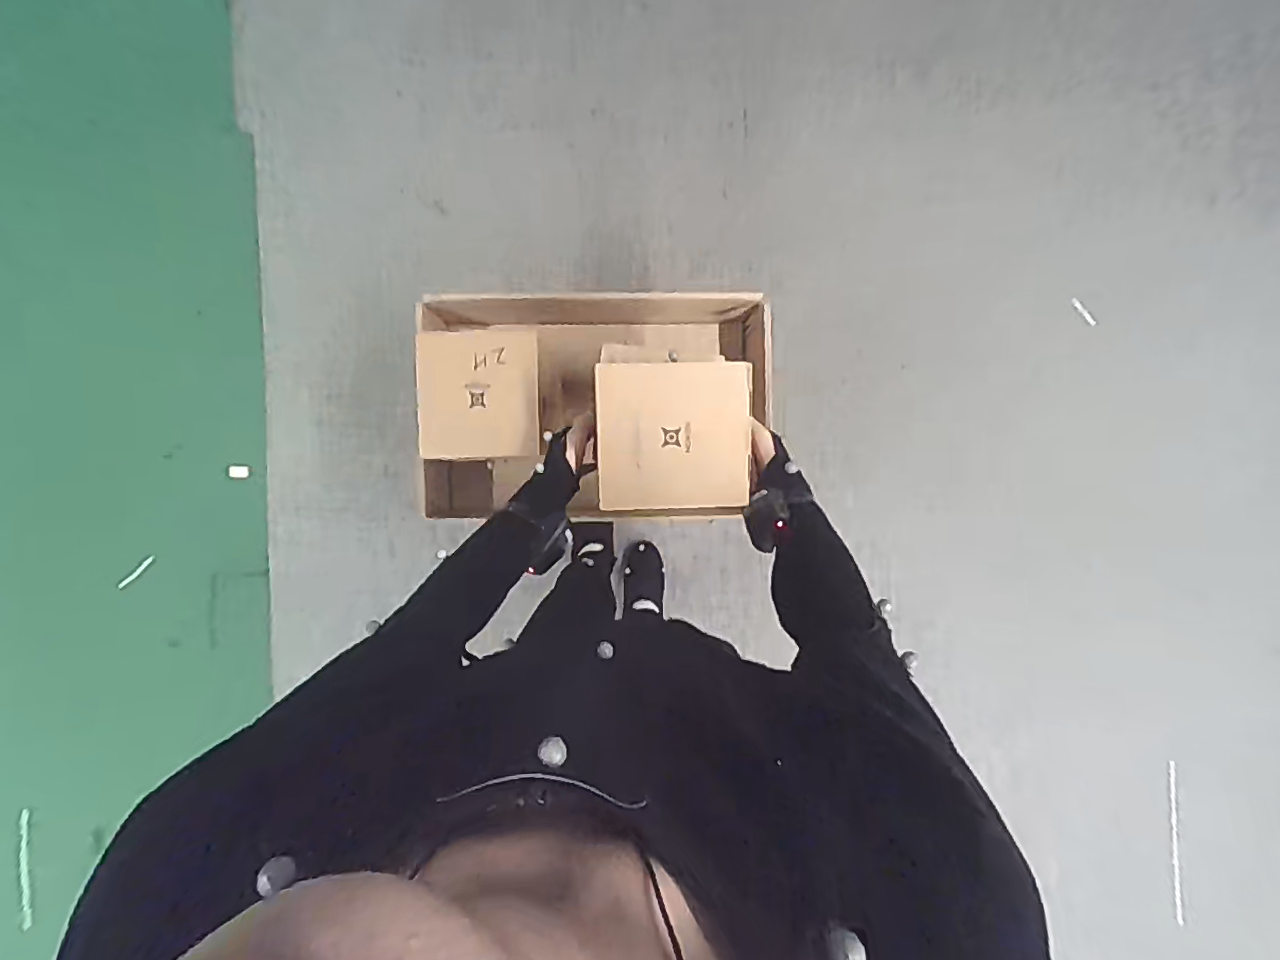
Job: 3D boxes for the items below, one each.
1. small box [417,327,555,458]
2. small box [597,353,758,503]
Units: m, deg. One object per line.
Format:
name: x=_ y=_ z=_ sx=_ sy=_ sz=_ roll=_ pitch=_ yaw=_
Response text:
small box: x=-0.219 y=-0.120 z=0.807 sx=0.168 sy=0.176 sz=0.179 roll=-1 pitch=90 yaw=-2
small box: x=0.035 y=-0.069 z=0.671 sx=0.179 sy=0.176 sz=0.168 roll=-1 pitch=100 yaw=-4
